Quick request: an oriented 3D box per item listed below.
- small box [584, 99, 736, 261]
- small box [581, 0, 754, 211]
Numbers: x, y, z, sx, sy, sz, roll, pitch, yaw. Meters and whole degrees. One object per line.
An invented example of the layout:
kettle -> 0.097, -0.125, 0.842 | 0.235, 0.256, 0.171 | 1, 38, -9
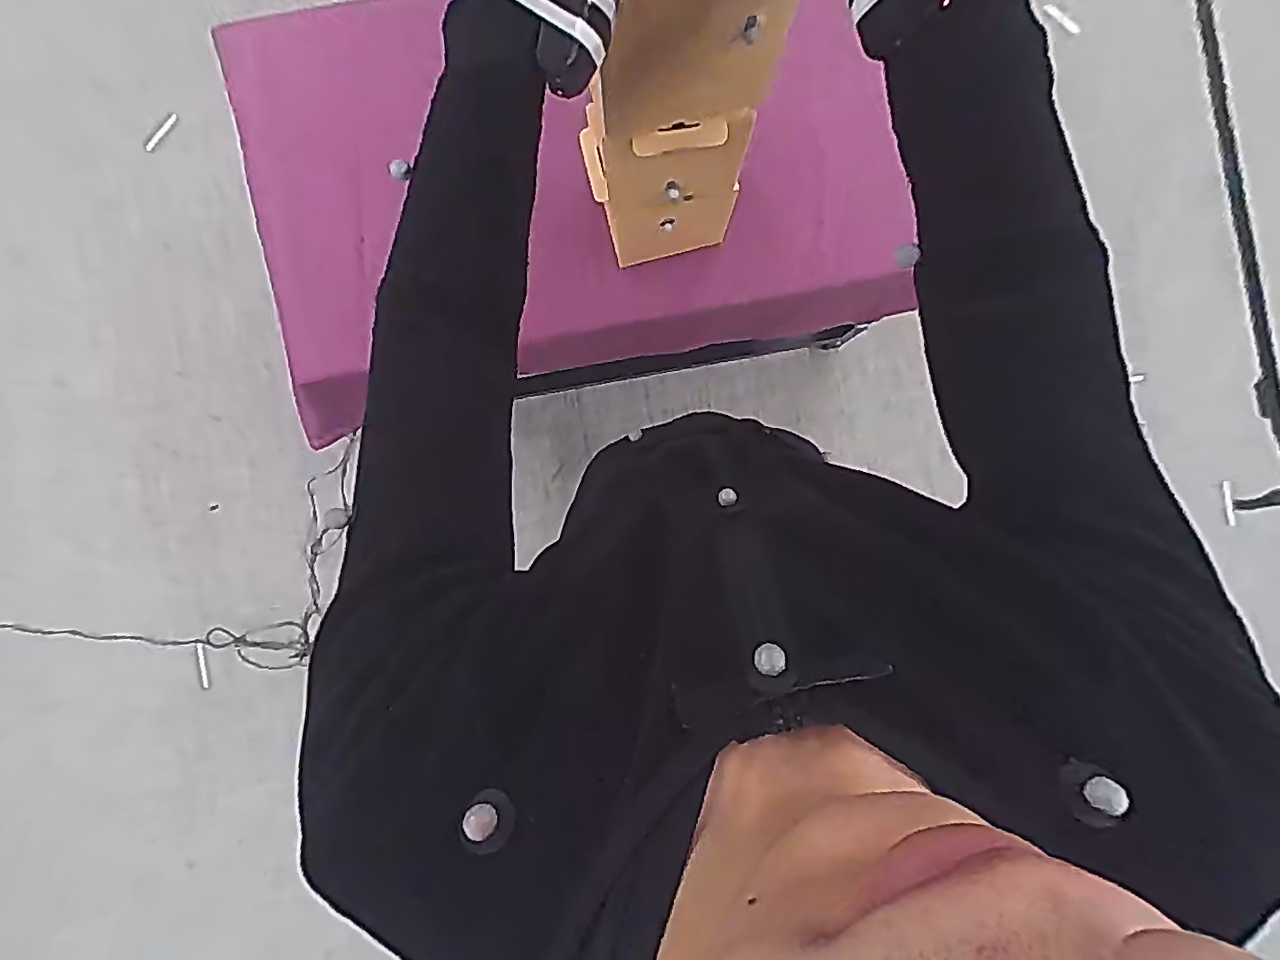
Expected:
small box -> 0.028, -0.449, 0.802 | 0.179, 0.176, 0.168 | -14, 91, 0
small box -> 0.026, -0.452, 0.637 | 0.168, 0.176, 0.179 | -9, 90, 1
